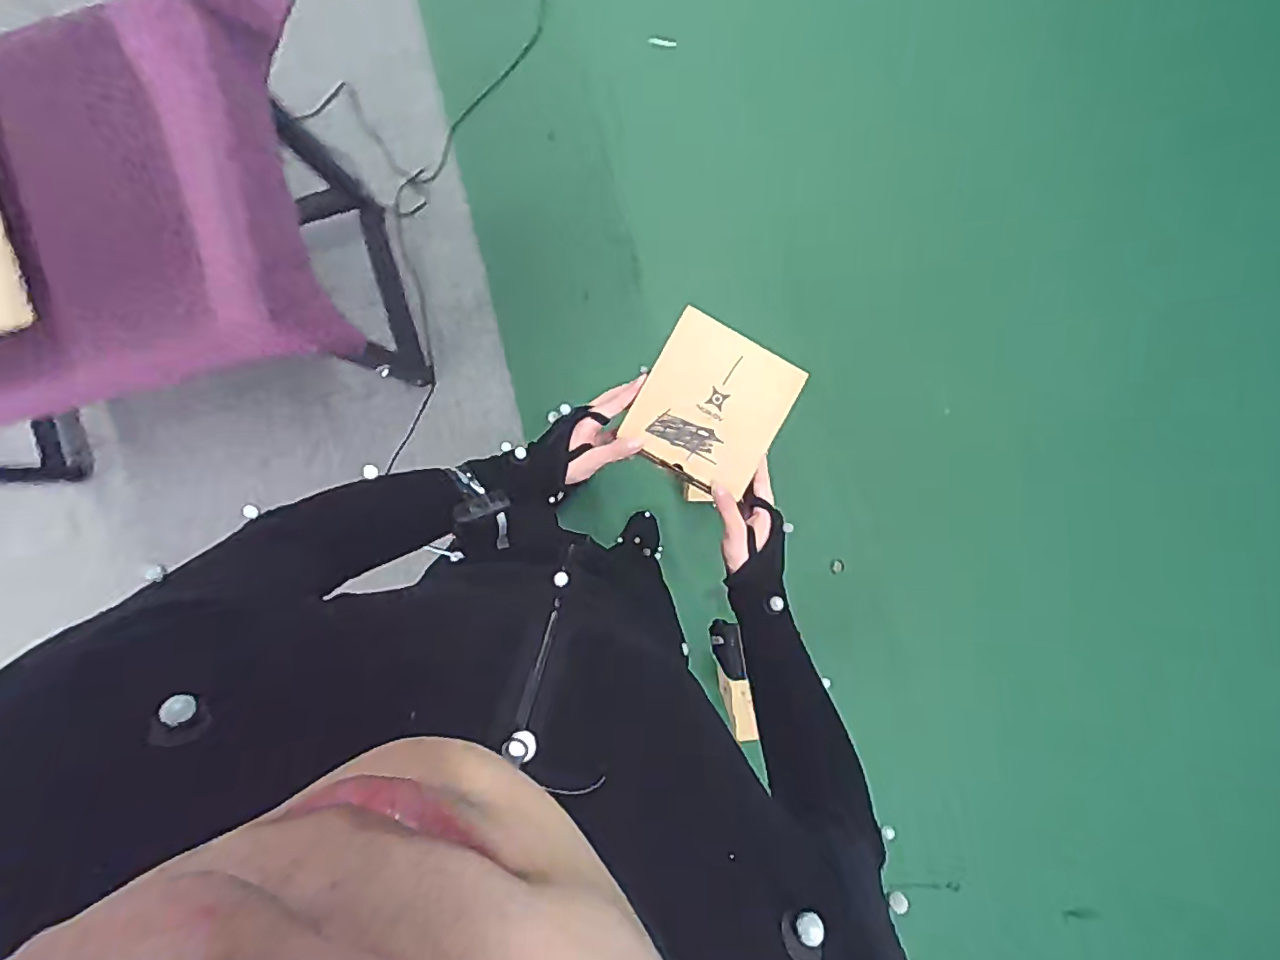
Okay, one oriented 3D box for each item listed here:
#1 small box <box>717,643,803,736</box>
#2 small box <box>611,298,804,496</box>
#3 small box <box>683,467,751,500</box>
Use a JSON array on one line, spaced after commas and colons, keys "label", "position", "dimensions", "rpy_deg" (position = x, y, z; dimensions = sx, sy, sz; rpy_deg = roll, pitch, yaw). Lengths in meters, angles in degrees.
[{"label": "small box", "position": [0.301, 0.526, 1.382], "dimensions": [0.179, 0.176, 0.168], "rpy_deg": [-6, 91, 1]}, {"label": "small box", "position": [0.075, -0.096, 0.697], "dimensions": [0.168, 0.176, 0.179], "rpy_deg": [29, 90, -4]}, {"label": "small box", "position": [0.217, -0.034, 1.540], "dimensions": [0.179, 0.176, 0.168], "rpy_deg": [2, 91, 2]}]
